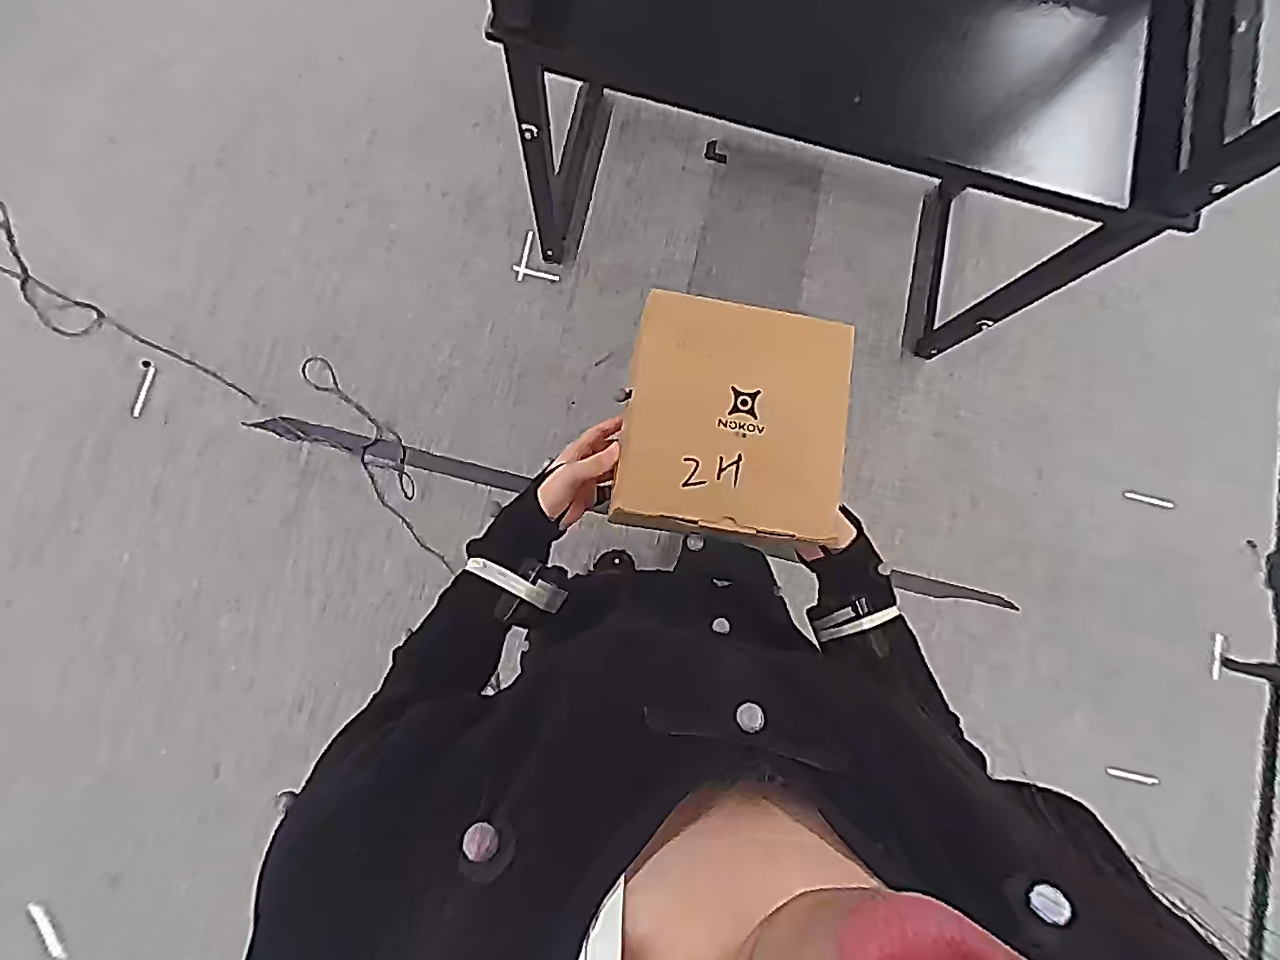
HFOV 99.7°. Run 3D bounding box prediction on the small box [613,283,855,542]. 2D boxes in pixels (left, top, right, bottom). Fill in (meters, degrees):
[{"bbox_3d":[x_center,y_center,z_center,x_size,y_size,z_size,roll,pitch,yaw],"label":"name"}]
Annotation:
[{"bbox_3d":[0.070,-0.043,0.485,0.168,0.176,0.179,9,82,-4],"label":"small box"}]
